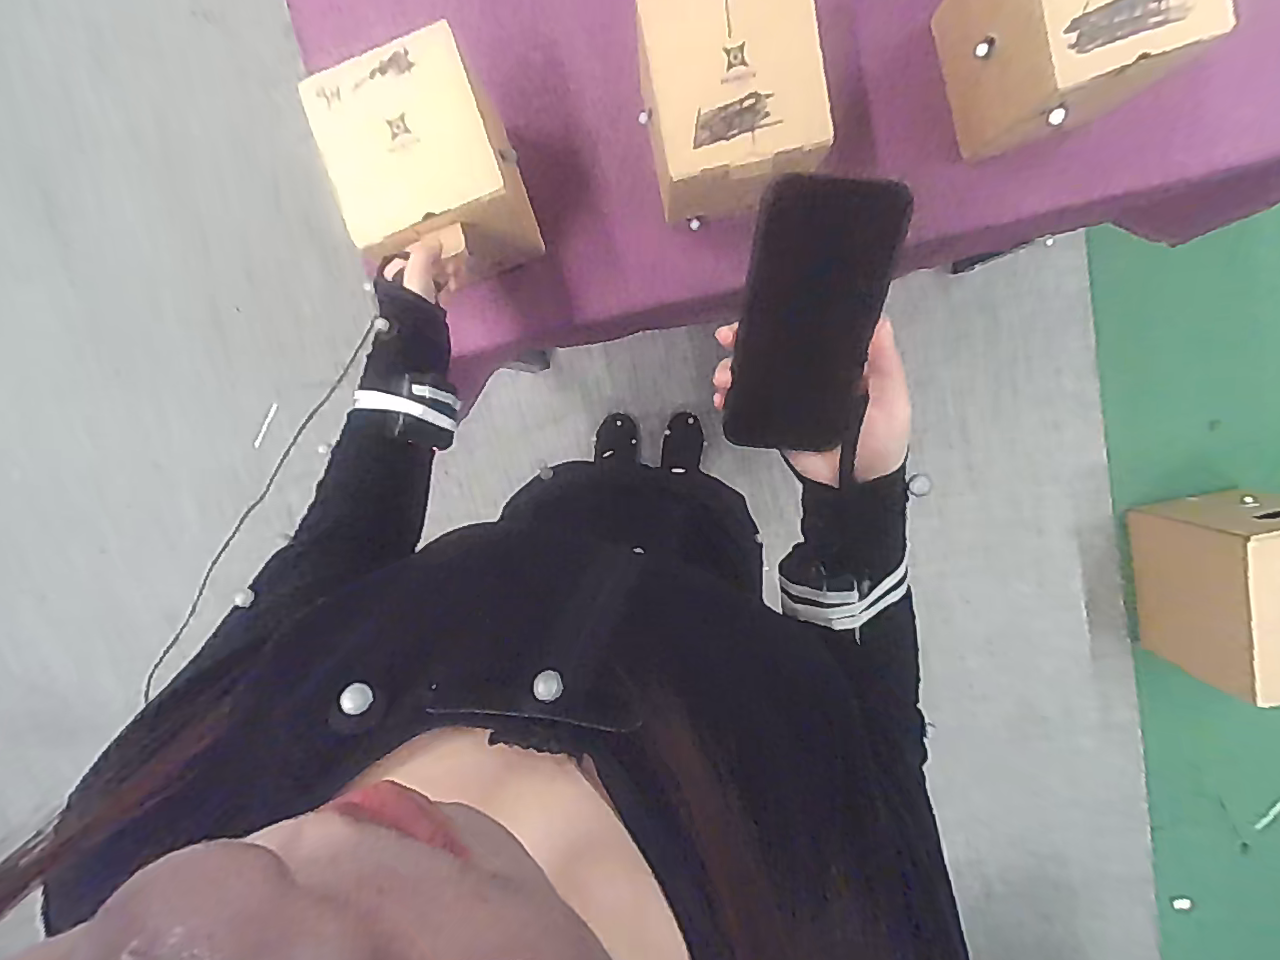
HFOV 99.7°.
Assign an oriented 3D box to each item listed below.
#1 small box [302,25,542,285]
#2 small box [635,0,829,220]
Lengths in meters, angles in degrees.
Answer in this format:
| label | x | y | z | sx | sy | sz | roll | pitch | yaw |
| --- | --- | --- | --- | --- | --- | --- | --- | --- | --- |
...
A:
| label | x | y | z | sx | sy | sz | roll | pitch | yaw |
| --- | --- | --- | --- | --- | --- | --- | --- | --- | --- |
| small box | -0.227 | -0.340 | 0.612 | 0.168 | 0.176 | 0.179 | -19 | 91 | 5 |
| small box | 0.095 | -0.410 | 0.602 | 0.168 | 0.176 | 0.179 | -11 | 97 | 4 |
